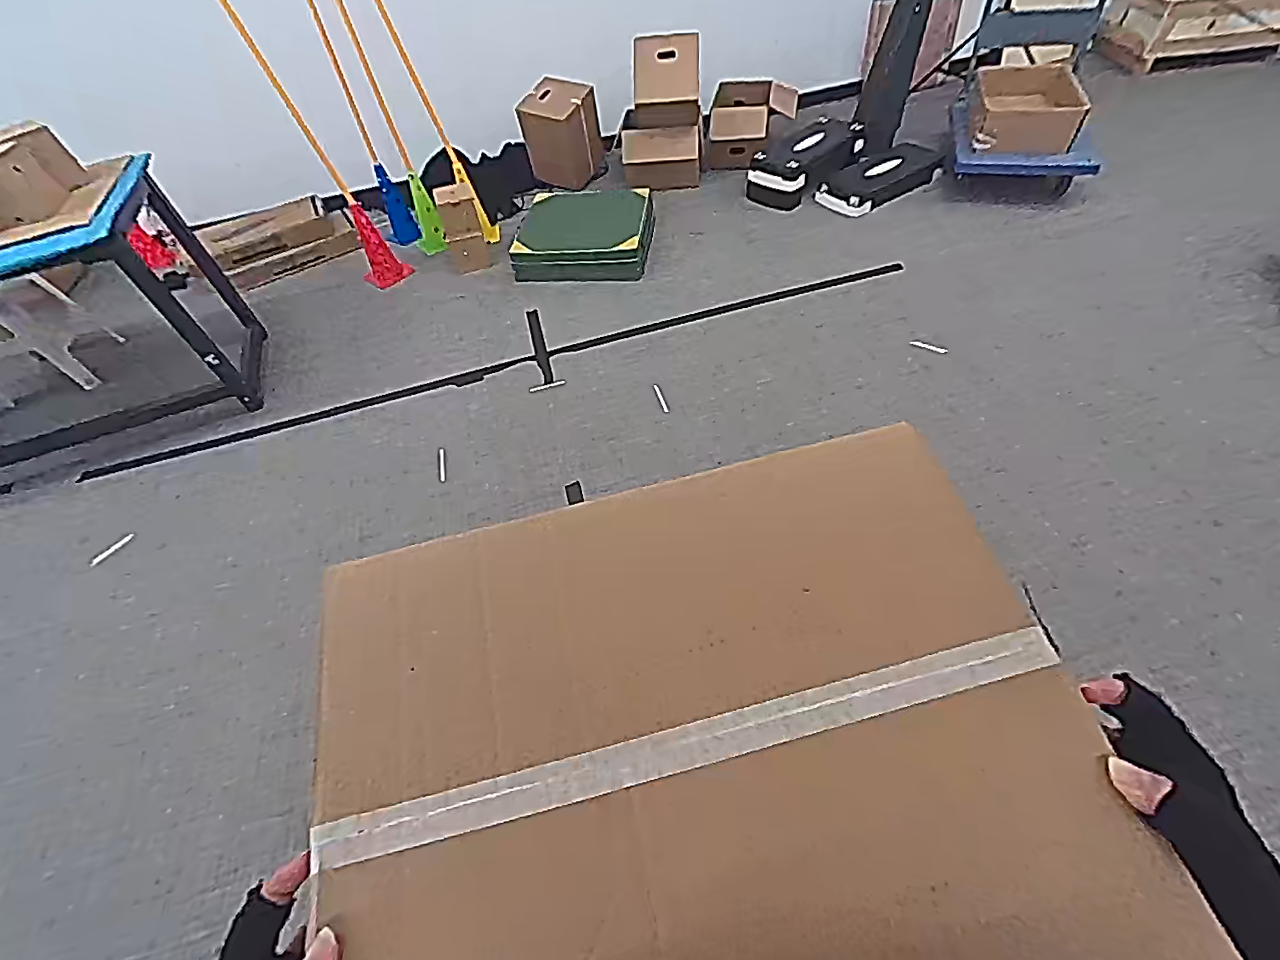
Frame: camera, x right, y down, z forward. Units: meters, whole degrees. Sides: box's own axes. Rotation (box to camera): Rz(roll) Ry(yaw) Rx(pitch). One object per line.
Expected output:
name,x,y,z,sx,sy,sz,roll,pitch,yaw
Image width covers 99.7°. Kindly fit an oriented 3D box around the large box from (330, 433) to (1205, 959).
large box,0.041,0.214,0.431,0.408,0.320,0.320,-15,61,-2
